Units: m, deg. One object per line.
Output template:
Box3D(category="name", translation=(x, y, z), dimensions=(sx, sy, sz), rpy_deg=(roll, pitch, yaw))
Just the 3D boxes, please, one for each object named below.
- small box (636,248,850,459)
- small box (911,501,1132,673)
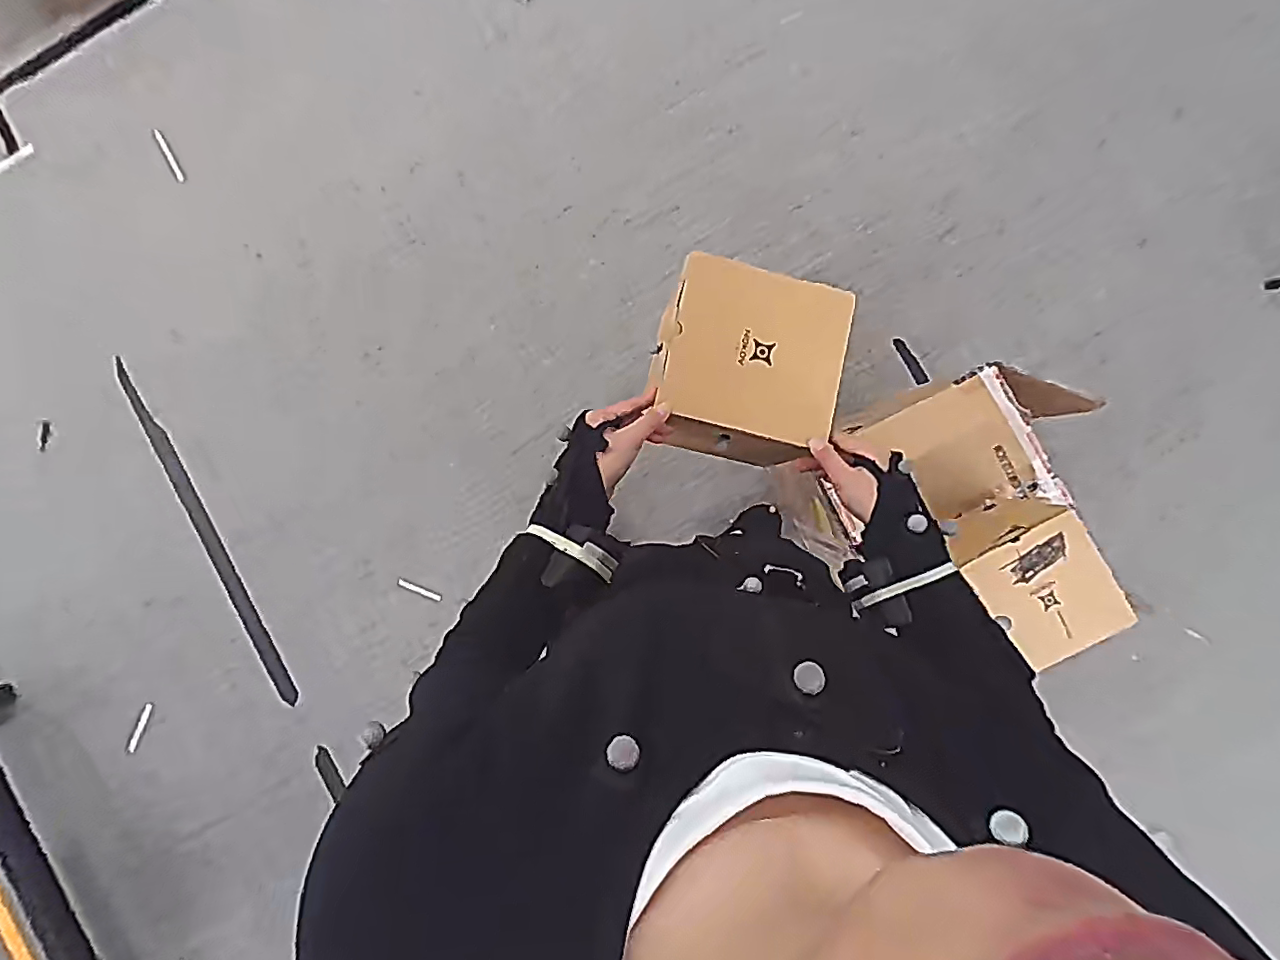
Box3D(category="small box", translation=(0.101, -0.124, 0.604), dimensions=(0.179, 0.176, 0.168), rpy_deg=(13, 84, -5))
Box3D(category="small box", translation=(0.536, 0.141, 0.789), dimensions=(0.168, 0.176, 0.179), rpy_deg=(-29, 91, 5))
